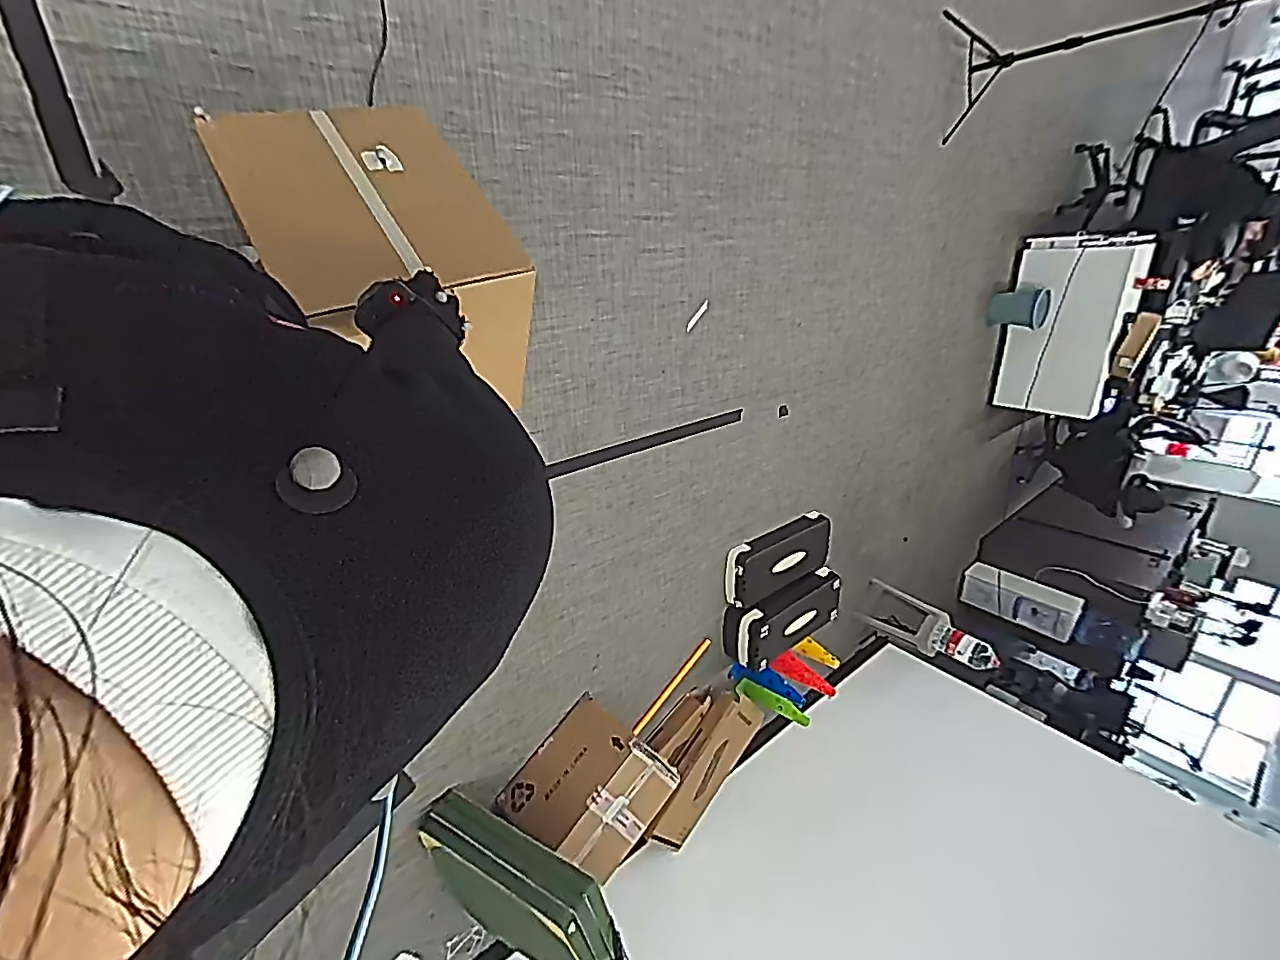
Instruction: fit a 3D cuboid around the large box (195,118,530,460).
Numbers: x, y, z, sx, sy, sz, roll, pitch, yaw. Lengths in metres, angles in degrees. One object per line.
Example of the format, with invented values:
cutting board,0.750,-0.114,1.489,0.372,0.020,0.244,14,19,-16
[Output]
large box,-0.420,-0.311,0.880,0.320,0.408,0.320,-25,159,-30
